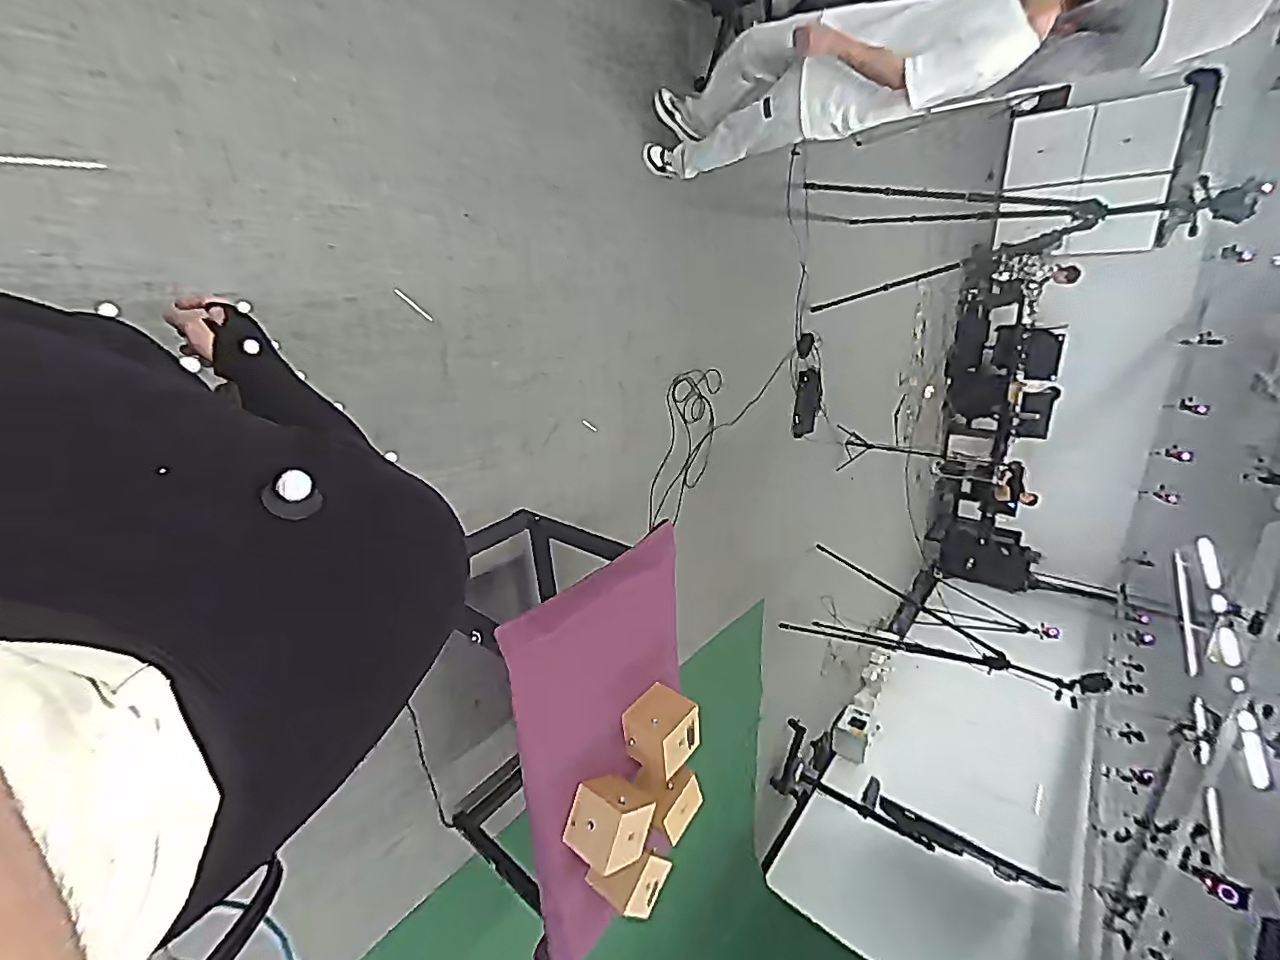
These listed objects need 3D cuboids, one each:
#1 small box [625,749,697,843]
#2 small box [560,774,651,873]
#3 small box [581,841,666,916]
[{"bbox_3d":[0.060,1.042,1.793,0.179,0.176,0.168,-41,130,-36],"label":"small box"},{"bbox_3d":[-0.102,0.982,1.564,0.179,0.176,0.168,26,80,-53],"label":"small box"},{"bbox_3d":[-0.052,1.225,1.702,0.168,0.176,0.179,-58,137,-23],"label":"small box"}]
